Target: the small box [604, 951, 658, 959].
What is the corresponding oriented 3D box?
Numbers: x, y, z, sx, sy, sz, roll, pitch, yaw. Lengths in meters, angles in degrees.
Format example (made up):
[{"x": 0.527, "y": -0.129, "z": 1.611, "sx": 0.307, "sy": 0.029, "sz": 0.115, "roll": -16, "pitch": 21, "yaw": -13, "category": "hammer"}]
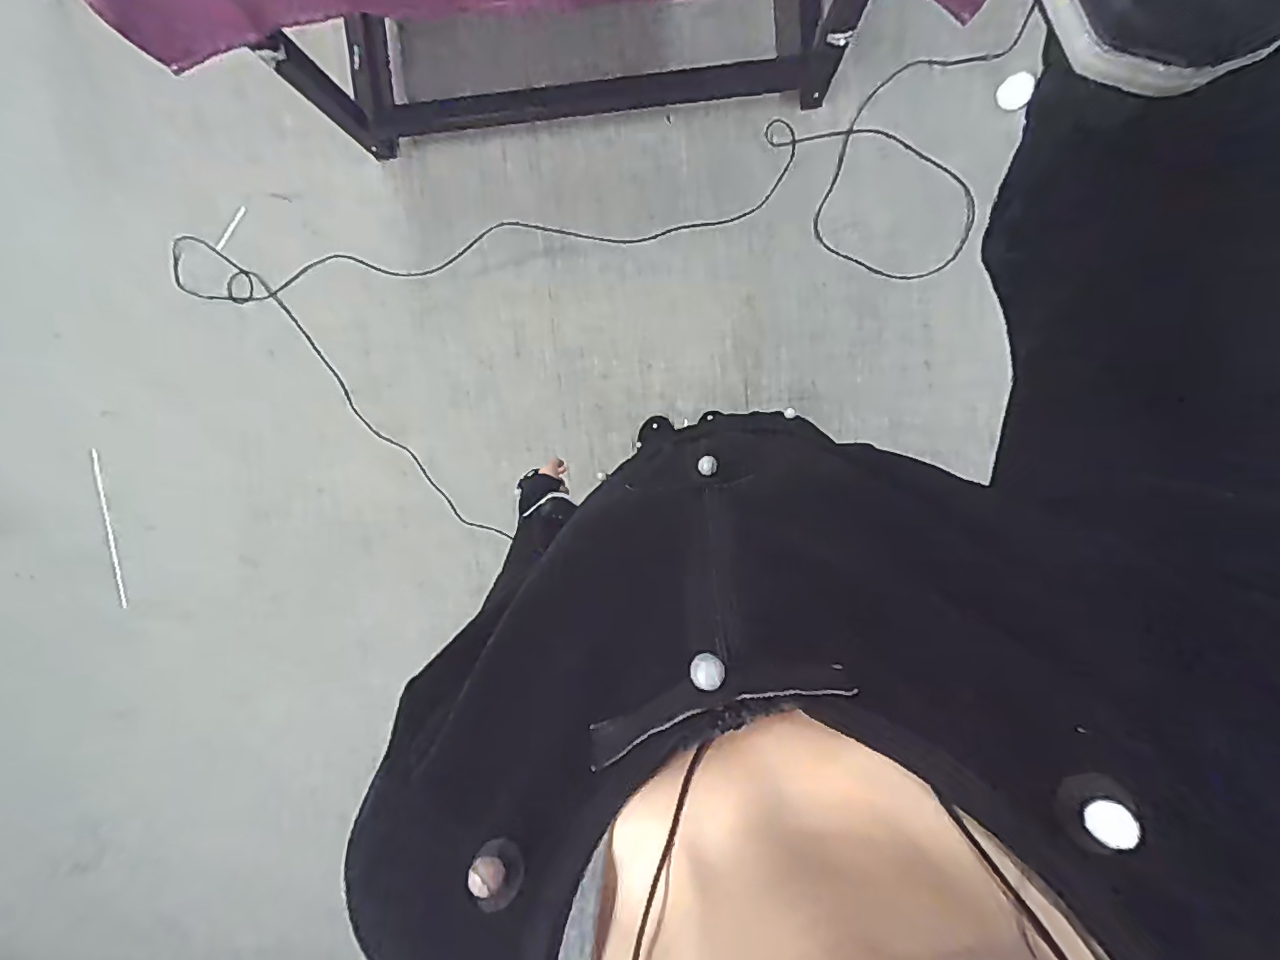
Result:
[{"x": -0.026, "y": 1.520, "z": 1.569, "sx": 0.168, "sy": 0.176, "sz": 0.179, "roll": -4, "pitch": 95, "yaw": 4, "category": "small box"}]
